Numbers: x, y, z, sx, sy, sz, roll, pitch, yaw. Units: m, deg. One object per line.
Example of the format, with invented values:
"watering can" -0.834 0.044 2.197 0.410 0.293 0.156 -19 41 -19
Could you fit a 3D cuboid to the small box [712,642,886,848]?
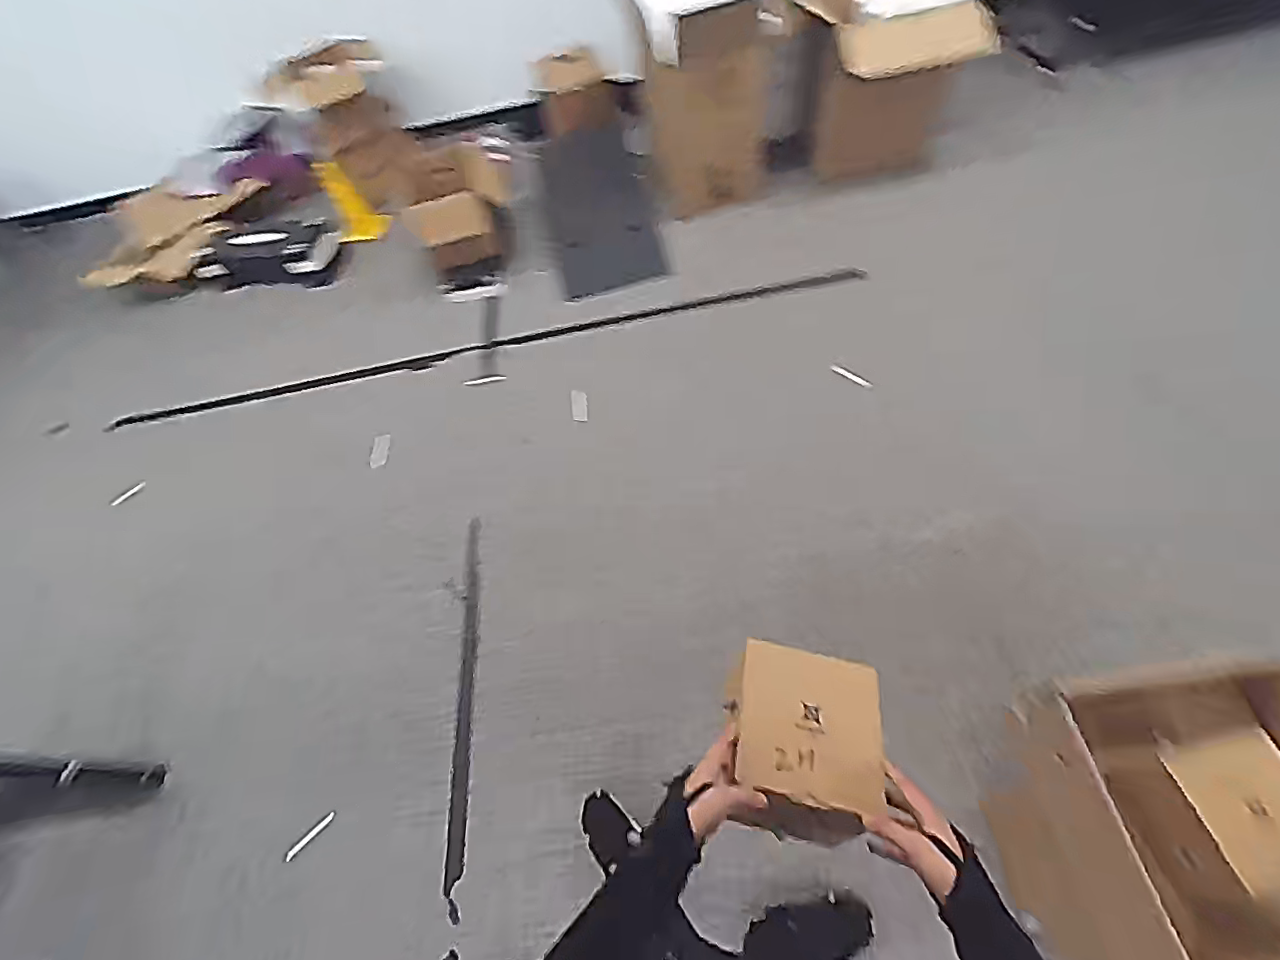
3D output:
"small box" 0.191 0.339 0.691 0.168 0.176 0.179 11 48 5
